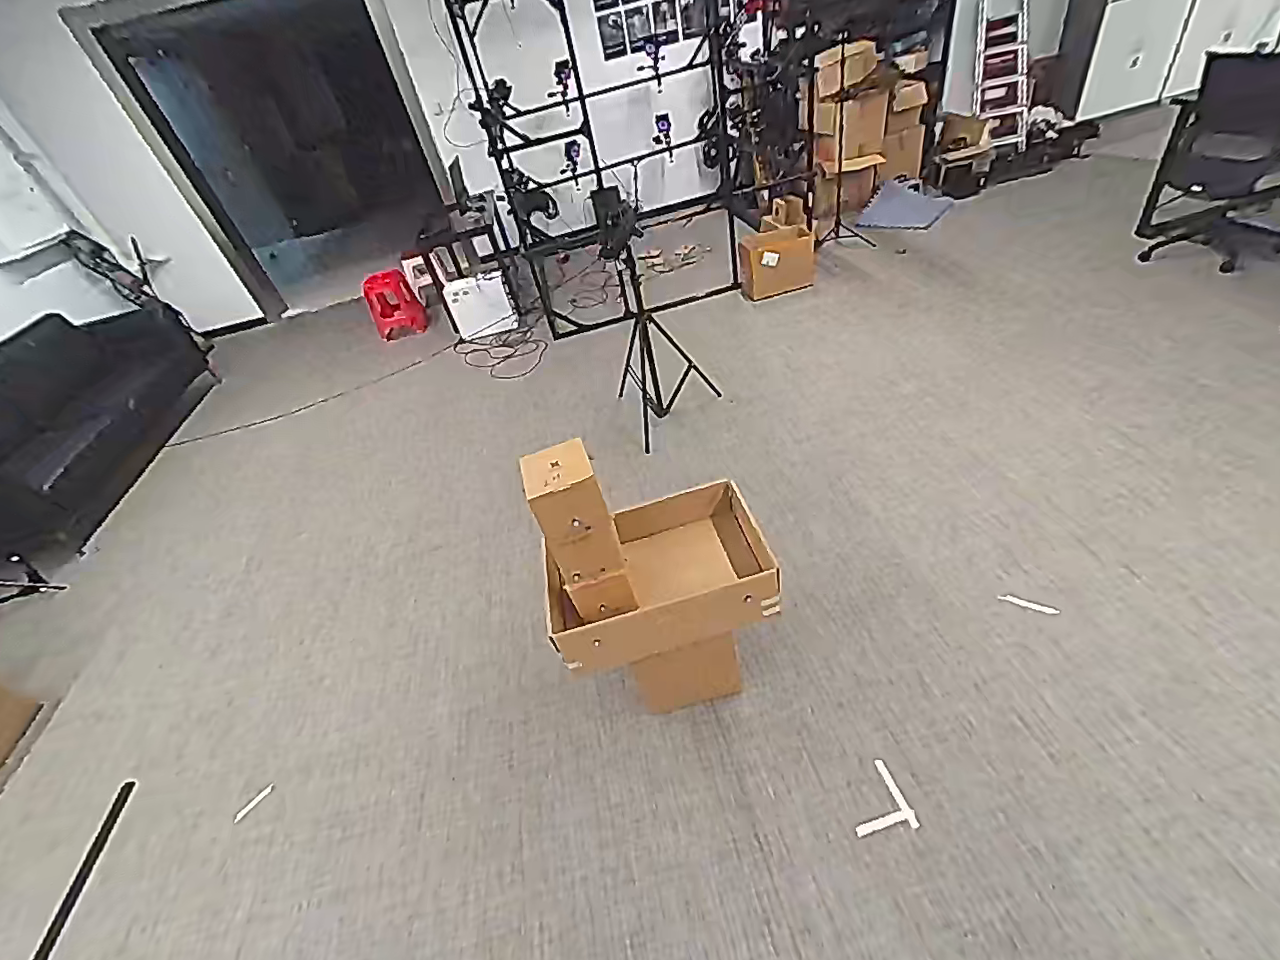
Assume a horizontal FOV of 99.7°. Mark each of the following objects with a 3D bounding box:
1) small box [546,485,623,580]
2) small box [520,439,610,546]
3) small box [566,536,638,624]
[{"bbox_3d":[-0.152,0.149,1.457,0.168,0.176,0.179,-18,39,-1],"label":"small box"},{"bbox_3d":[-0.186,0.031,1.347,0.168,0.176,0.179,-21,41,-4],"label":"small box"},{"bbox_3d":[-0.116,0.279,1.552,0.168,0.176,0.179,-18,40,-1],"label":"small box"}]
